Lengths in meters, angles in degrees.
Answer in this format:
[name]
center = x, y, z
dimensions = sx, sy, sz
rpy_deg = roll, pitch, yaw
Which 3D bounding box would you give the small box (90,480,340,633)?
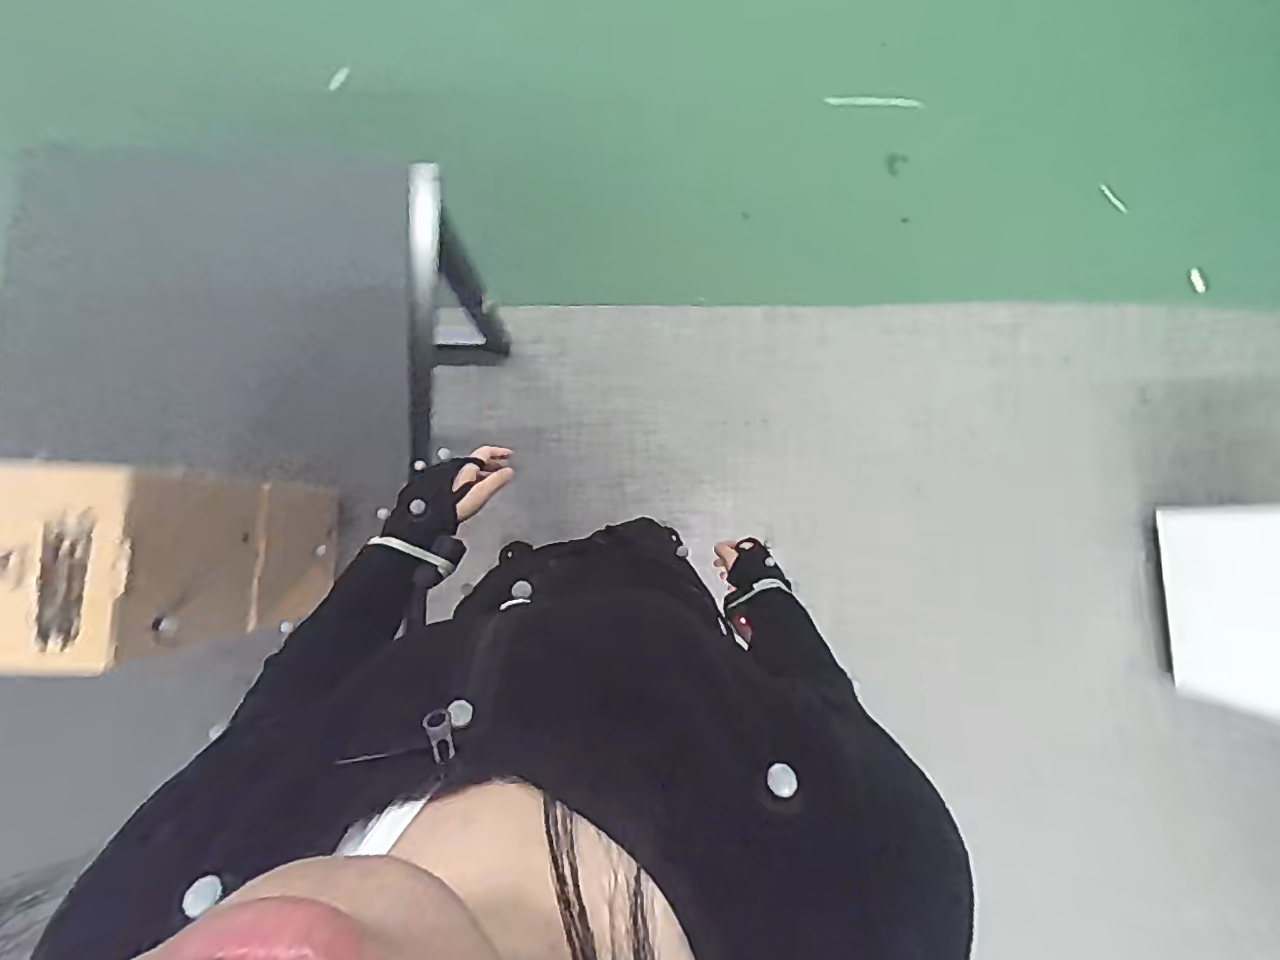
[small box]
center = -0.508, 0.091, 0.673
dimensions = 0.179, 0.176, 0.168
rpy_deg = 1, 86, -3
